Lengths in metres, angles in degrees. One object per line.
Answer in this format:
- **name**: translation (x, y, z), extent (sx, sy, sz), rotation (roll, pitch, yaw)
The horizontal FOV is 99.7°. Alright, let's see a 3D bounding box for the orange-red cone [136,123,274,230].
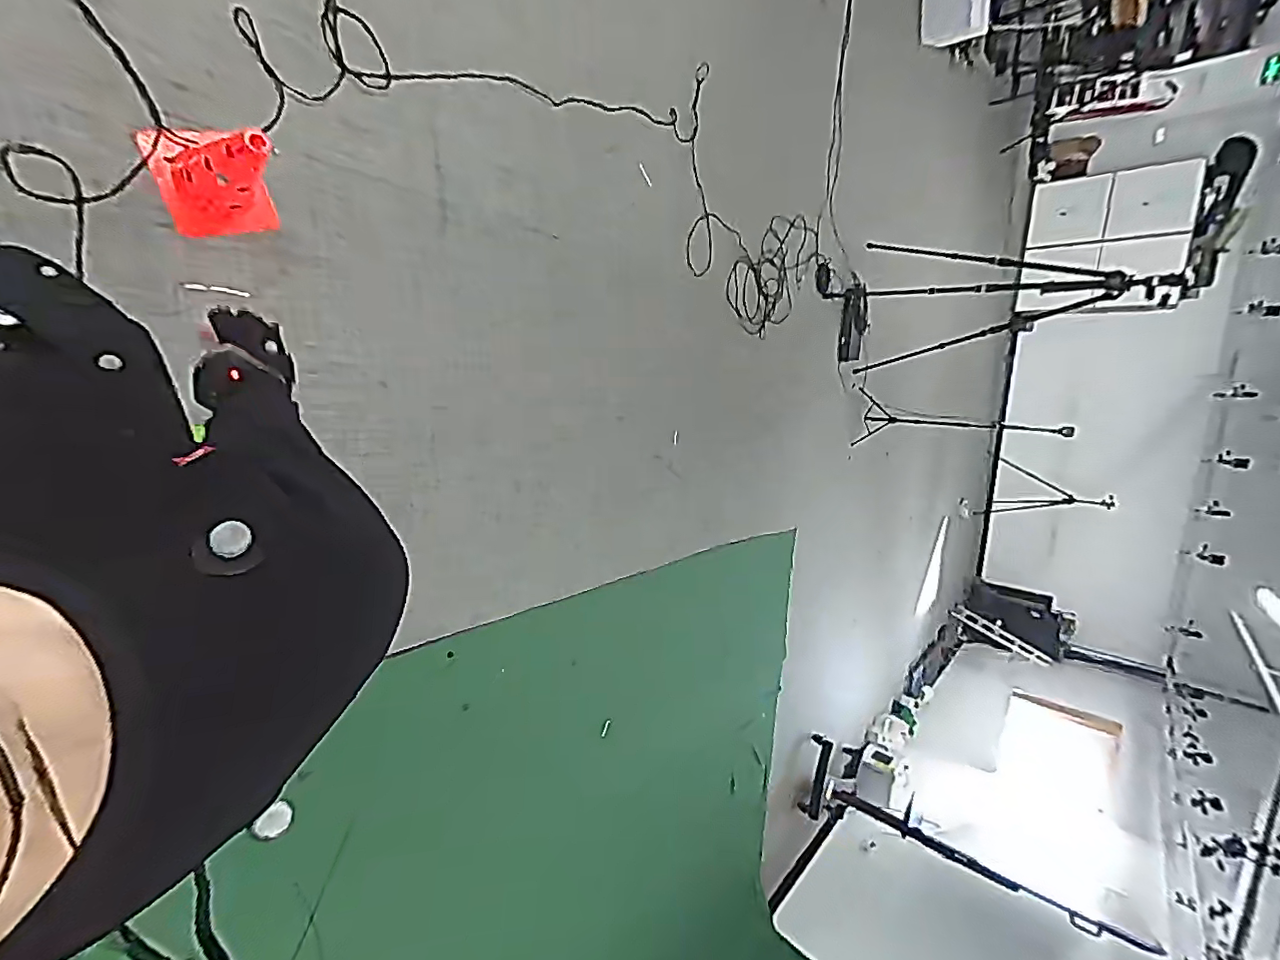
- **orange-red cone**: translation (-0.797, -0.621, 1.051), extent (0.198, 0.360, 0.199), rotation (-30, 122, -40)
